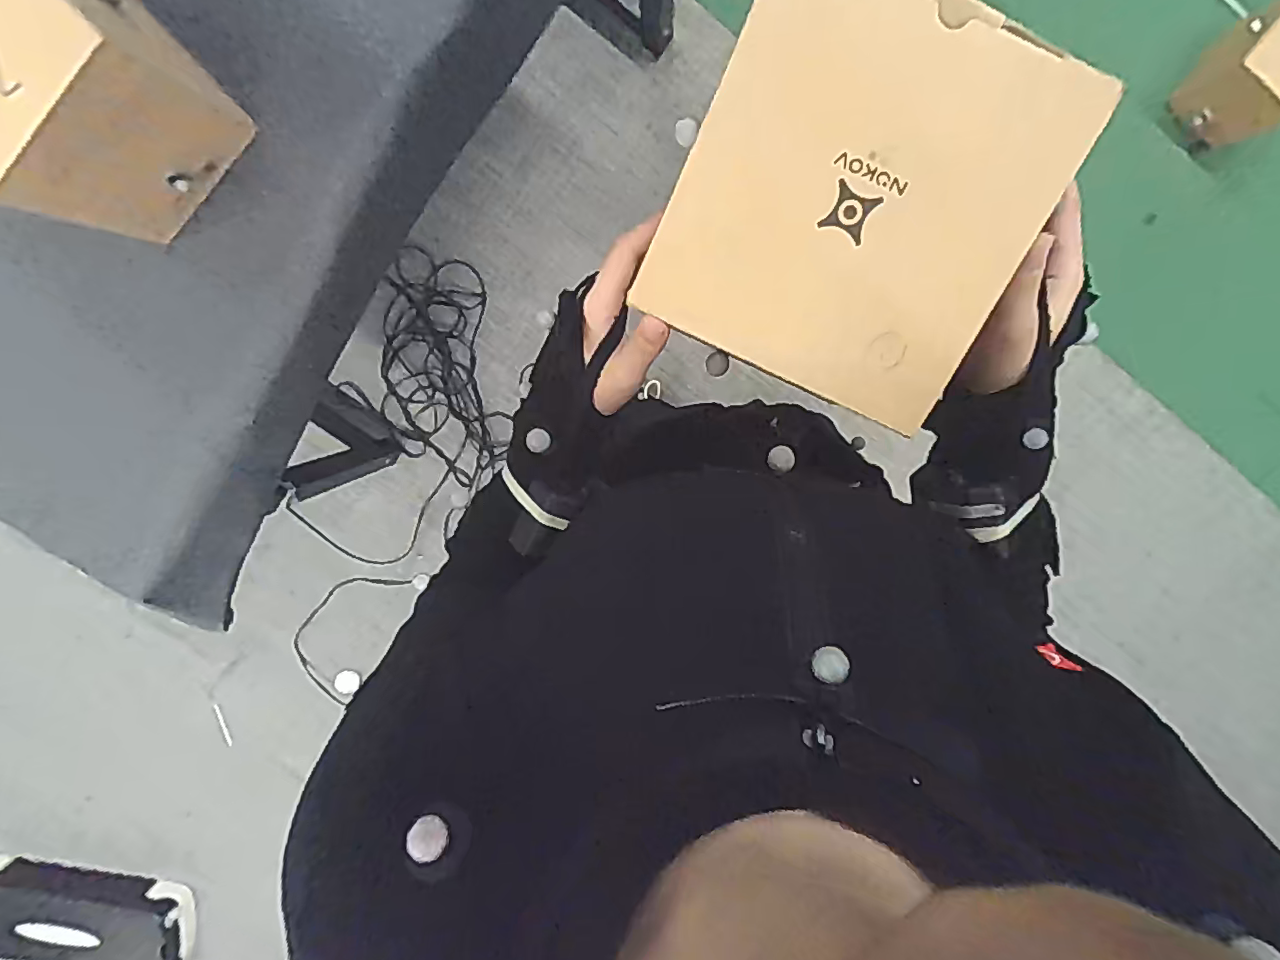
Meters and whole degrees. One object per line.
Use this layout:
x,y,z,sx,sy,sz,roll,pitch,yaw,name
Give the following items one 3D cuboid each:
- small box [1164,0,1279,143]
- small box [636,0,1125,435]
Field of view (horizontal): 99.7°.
1.232,-0.827,1.080,0.168,0.176,0.179,35,101,-5,small box
0.115,-0.150,0.335,0.168,0.176,0.179,25,104,0,small box
